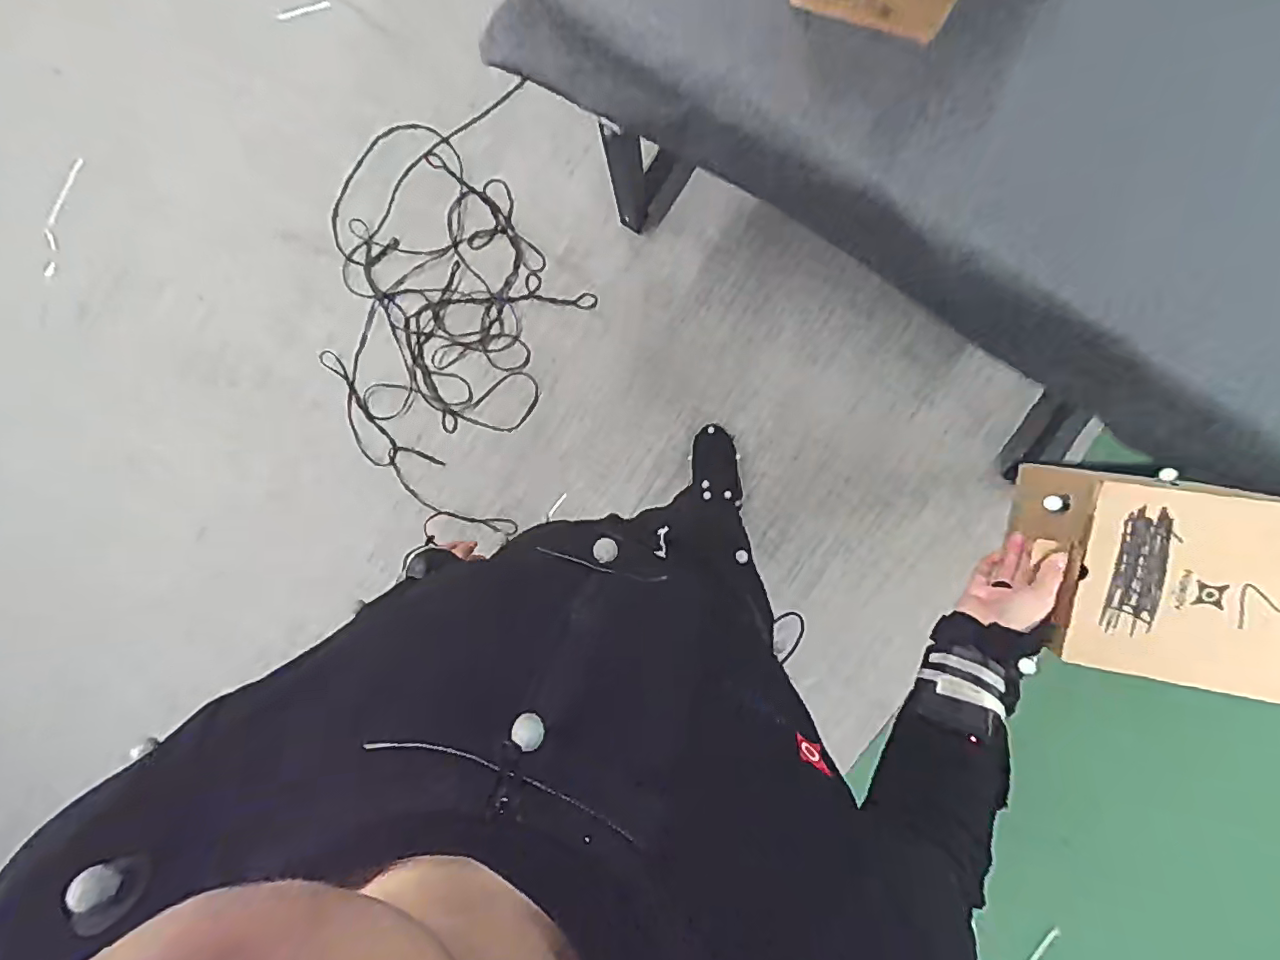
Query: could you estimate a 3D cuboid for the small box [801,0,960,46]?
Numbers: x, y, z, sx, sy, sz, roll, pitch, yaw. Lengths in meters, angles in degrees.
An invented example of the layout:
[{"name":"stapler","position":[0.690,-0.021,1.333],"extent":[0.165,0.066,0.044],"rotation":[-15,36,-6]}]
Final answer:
[{"name":"small box","position":[0.266,-0.578,0.513],"extent":[0.168,0.176,0.179],"rotation":[18,94,1]}]
